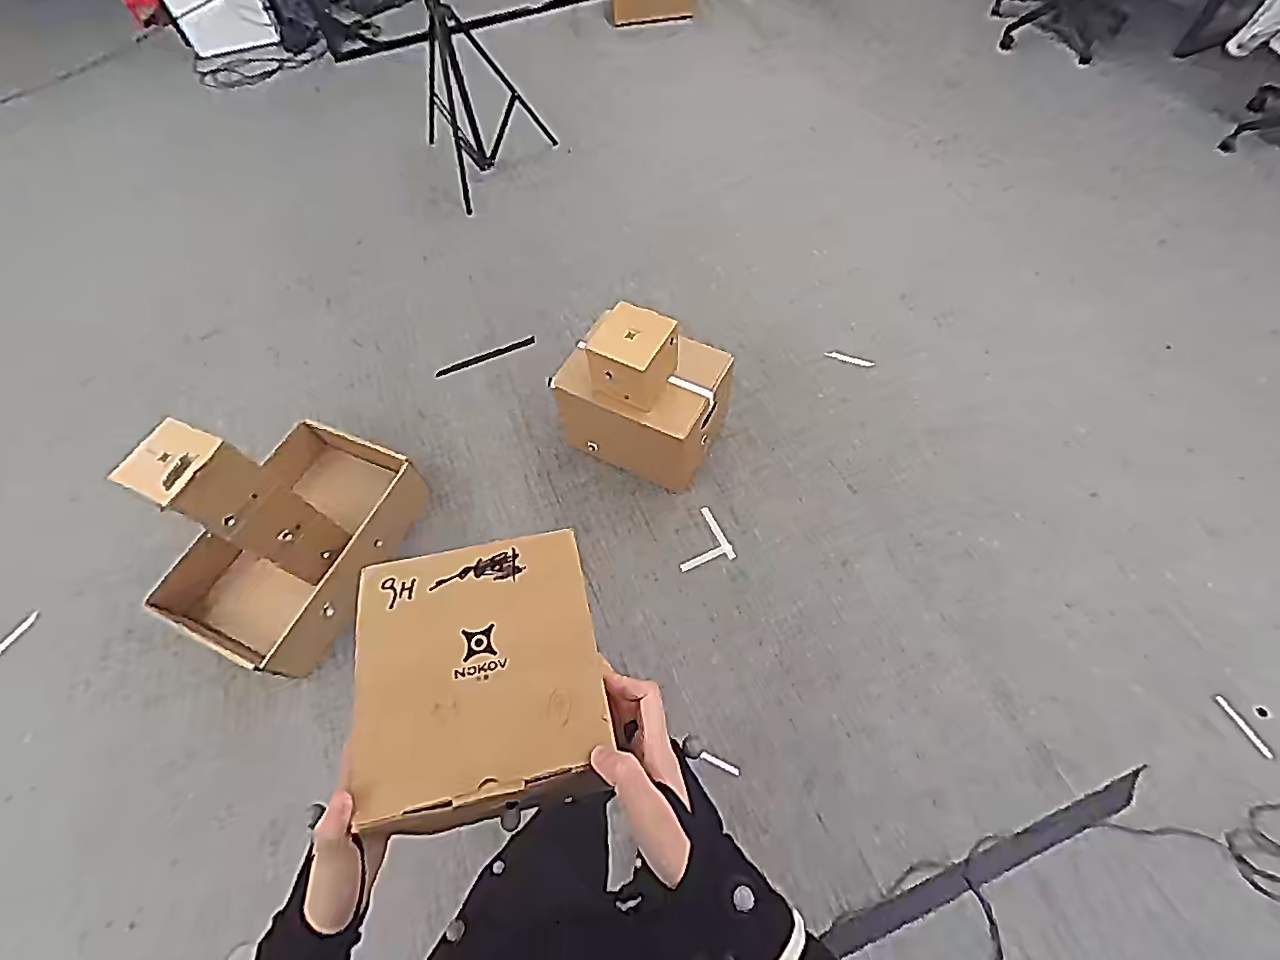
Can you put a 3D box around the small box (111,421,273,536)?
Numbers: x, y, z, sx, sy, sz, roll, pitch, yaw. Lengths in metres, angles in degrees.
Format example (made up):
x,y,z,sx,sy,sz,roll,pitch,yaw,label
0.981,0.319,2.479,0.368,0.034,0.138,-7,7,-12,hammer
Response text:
x,y,z,sx,sy,sz,roll,pitch,yaw,label
-0.961,0.004,1.179,0.179,0.176,0.168,19,64,15,small box

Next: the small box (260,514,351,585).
x,y,z,sx,sy,sz,roll,pitch,yaw,label
-0.937,0.164,1.463,0.179,0.176,0.168,22,65,15,small box

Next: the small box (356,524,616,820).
x,y,z,sx,sy,sz,roll,pitch,yaw,label
-0.116,0.162,0.448,0.168,0.176,0.179,-9,58,-11,small box

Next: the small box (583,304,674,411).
x,y,z,sx,sy,sz,roll,pitch,yaw,label
-0.020,-0.304,1.371,0.168,0.176,0.179,25,65,15,small box

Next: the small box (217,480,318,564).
x,y,z,sx,sy,sz,roll,pitch,yaw,label
-0.946,0.084,1.323,0.179,0.176,0.168,21,65,14,small box
